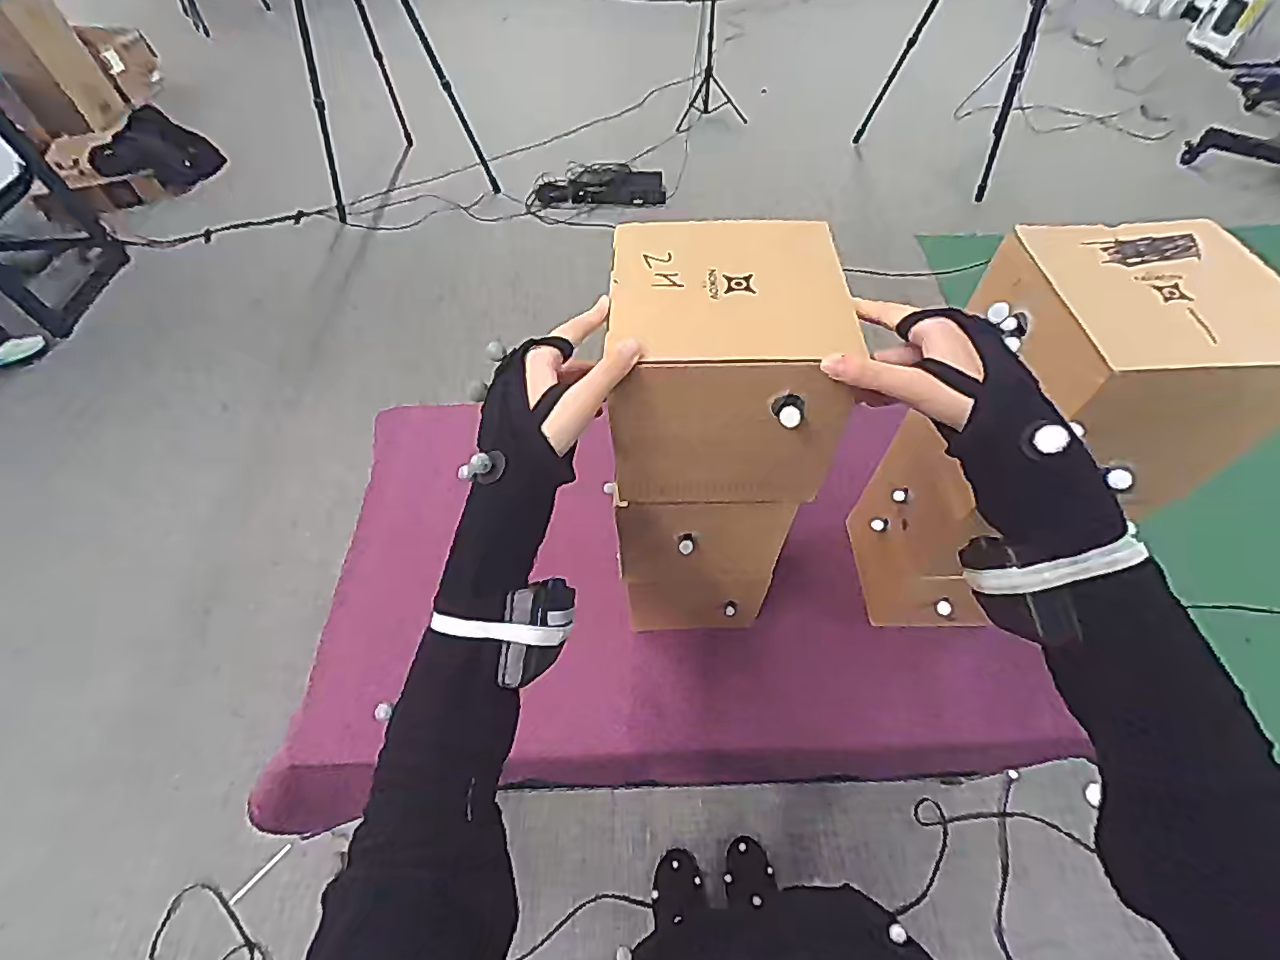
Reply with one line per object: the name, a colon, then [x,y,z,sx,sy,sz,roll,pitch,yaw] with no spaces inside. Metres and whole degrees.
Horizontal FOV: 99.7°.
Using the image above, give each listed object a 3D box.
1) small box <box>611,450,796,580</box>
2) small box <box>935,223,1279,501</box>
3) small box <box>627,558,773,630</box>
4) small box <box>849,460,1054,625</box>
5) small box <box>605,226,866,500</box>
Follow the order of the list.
small box: [0.063,0.005,0.616,0.179,0.176,0.168,-2,53,1]
small box: [0.394,-0.100,0.477,0.168,0.176,0.179,-2,54,2]
small box: [0.072,0.100,0.750,0.179,0.176,0.168,-2,53,1]
small box: [0.407,0.091,0.745,0.168,0.176,0.179,-1,54,2]
small box: [0.068,-0.095,0.467,0.179,0.176,0.168,0,53,3]
